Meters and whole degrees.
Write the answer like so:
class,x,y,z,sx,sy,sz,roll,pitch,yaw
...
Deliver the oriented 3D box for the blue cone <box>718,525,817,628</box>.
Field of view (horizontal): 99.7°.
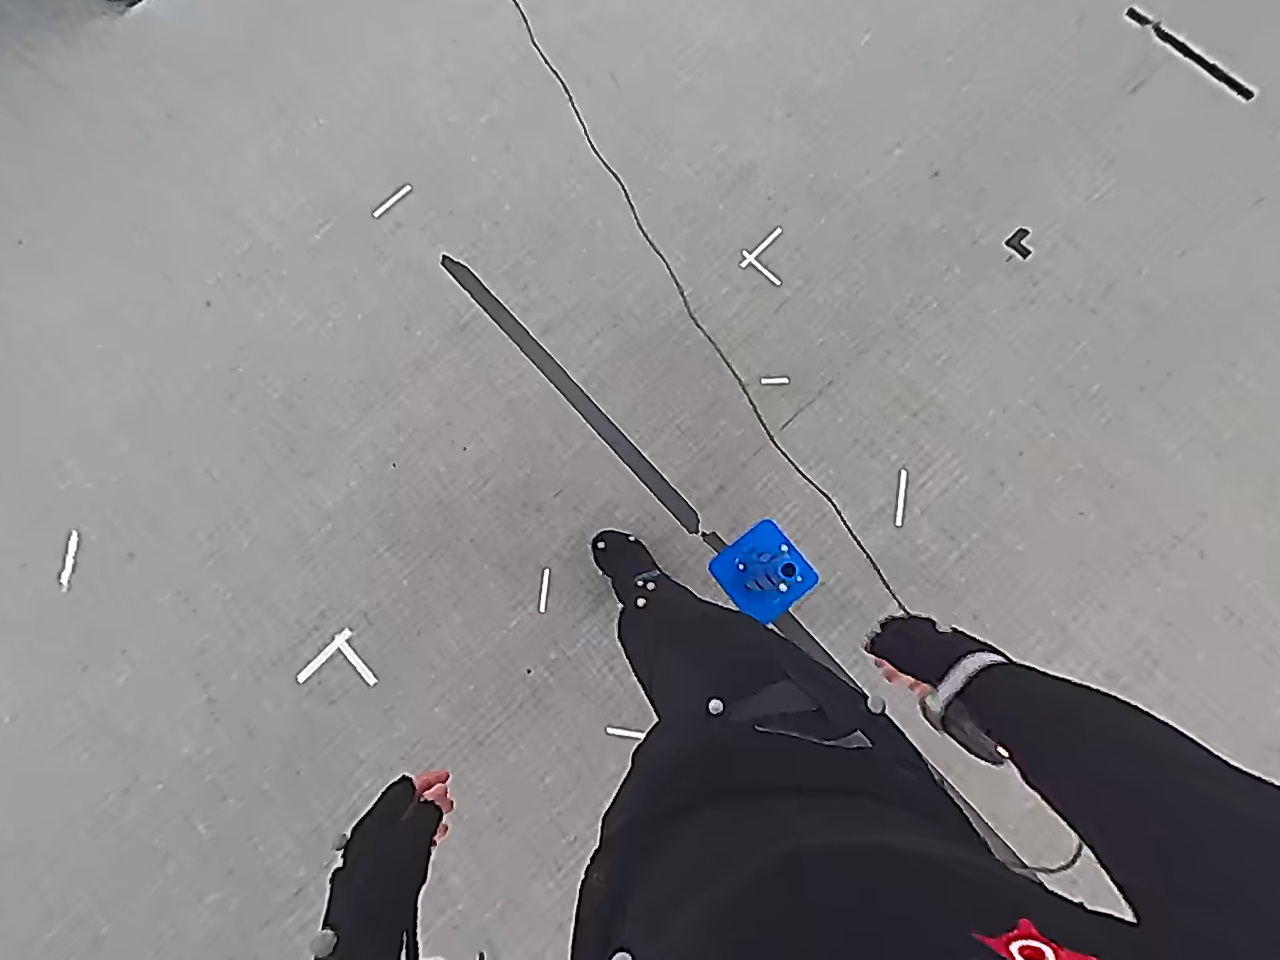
class,x,y,z,sx,sy,sz,roll,pitch,yaw
blue cone,0.288,0.191,1.120,0.193,0.380,0.192,-40,78,-4
